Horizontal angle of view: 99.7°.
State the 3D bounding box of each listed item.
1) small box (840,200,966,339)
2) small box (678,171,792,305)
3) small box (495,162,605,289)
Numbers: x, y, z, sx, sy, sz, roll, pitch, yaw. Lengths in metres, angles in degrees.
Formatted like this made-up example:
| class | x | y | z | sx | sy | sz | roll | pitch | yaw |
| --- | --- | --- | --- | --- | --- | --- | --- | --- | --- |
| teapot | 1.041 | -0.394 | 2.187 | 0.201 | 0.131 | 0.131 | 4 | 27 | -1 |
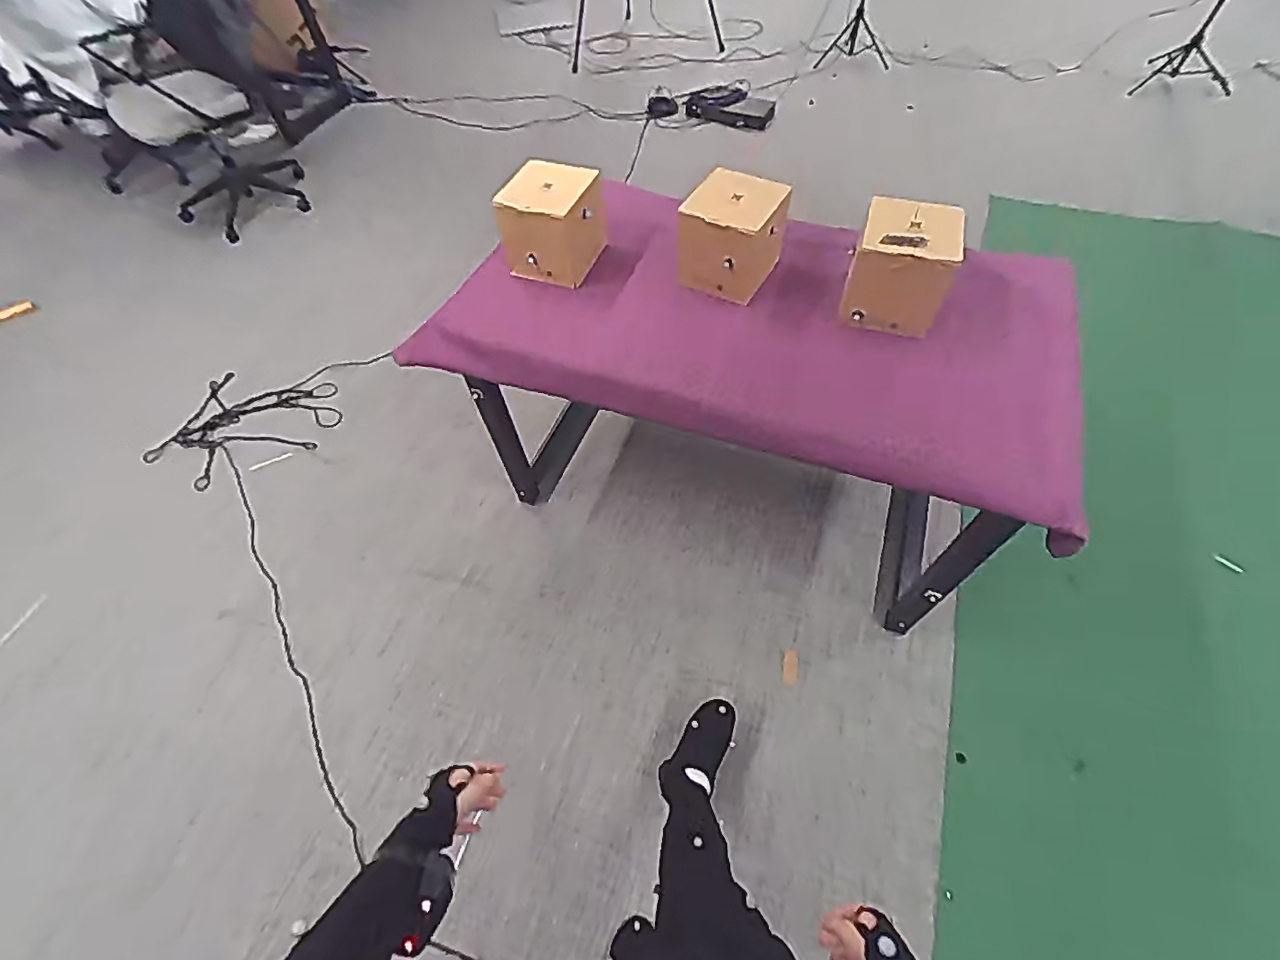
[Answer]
| class | x | y | z | sx | sy | sz | roll | pitch | yaw |
| --- | --- | --- | --- | --- | --- | --- | --- | --- | --- |
| small box | 0.490 | -0.394 | 1.023 | 0.168 | 0.176 | 0.179 | 15 | 58 | 13 |
| small box | 0.189 | -0.490 | 1.105 | 0.168 | 0.176 | 0.179 | 26 | 61 | 18 |
| small box | -0.182 | -0.544 | 1.162 | 0.168 | 0.176 | 0.179 | 17 | 60 | 14 |
